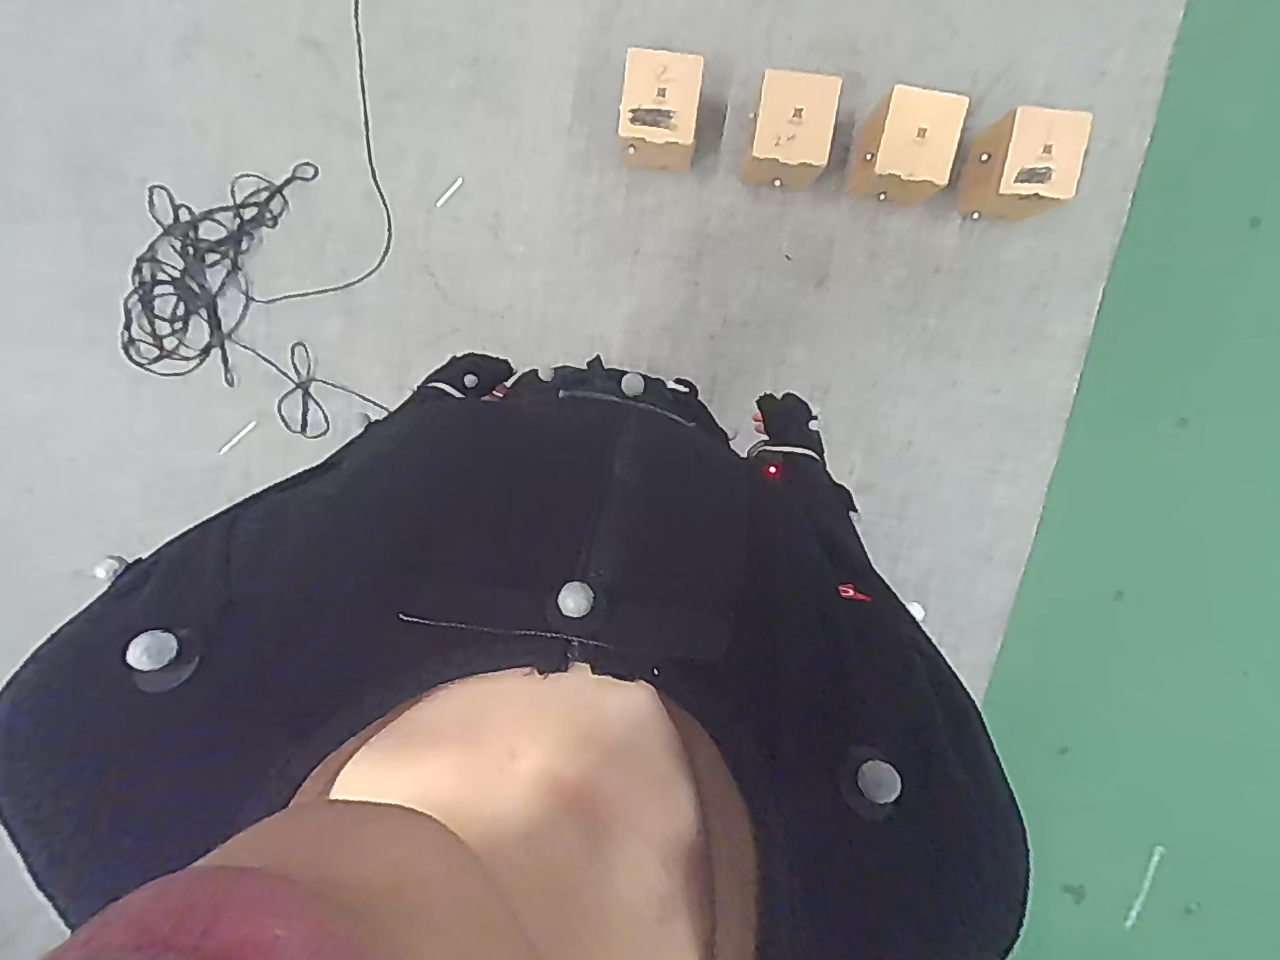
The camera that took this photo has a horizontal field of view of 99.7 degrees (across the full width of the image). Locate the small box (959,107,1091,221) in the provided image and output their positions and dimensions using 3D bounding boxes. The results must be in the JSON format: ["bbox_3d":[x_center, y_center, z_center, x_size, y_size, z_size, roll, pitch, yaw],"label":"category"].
[{"bbox_3d":[0.864,-0.710,1.236,0.168,0.176,0.179,7,101,0],"label":"small box"}]

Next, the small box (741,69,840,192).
[{"bbox_3d":[0.333,-0.787,1.232,0.168,0.176,0.179,8,102,1],"label":"small box"}]

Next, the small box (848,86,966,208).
[{"bbox_3d":[0.598,-0.750,1.236,0.168,0.176,0.179,10,102,-1],"label":"small box"}]
